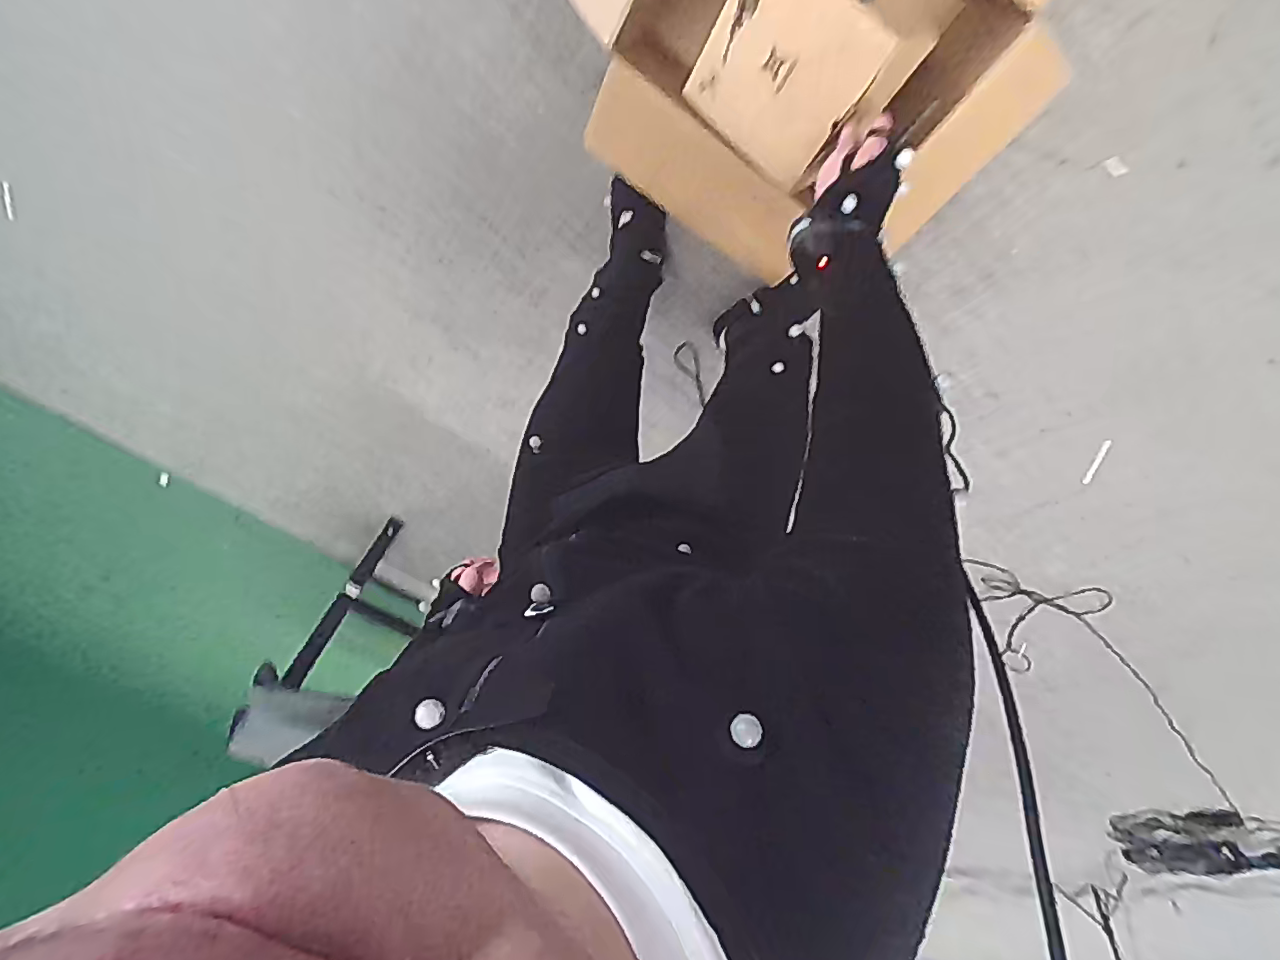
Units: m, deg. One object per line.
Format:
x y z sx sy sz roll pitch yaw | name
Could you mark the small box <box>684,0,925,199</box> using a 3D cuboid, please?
0.190 -0.463 0.613 0.179 0.176 0.168 45 138 -1 | small box
